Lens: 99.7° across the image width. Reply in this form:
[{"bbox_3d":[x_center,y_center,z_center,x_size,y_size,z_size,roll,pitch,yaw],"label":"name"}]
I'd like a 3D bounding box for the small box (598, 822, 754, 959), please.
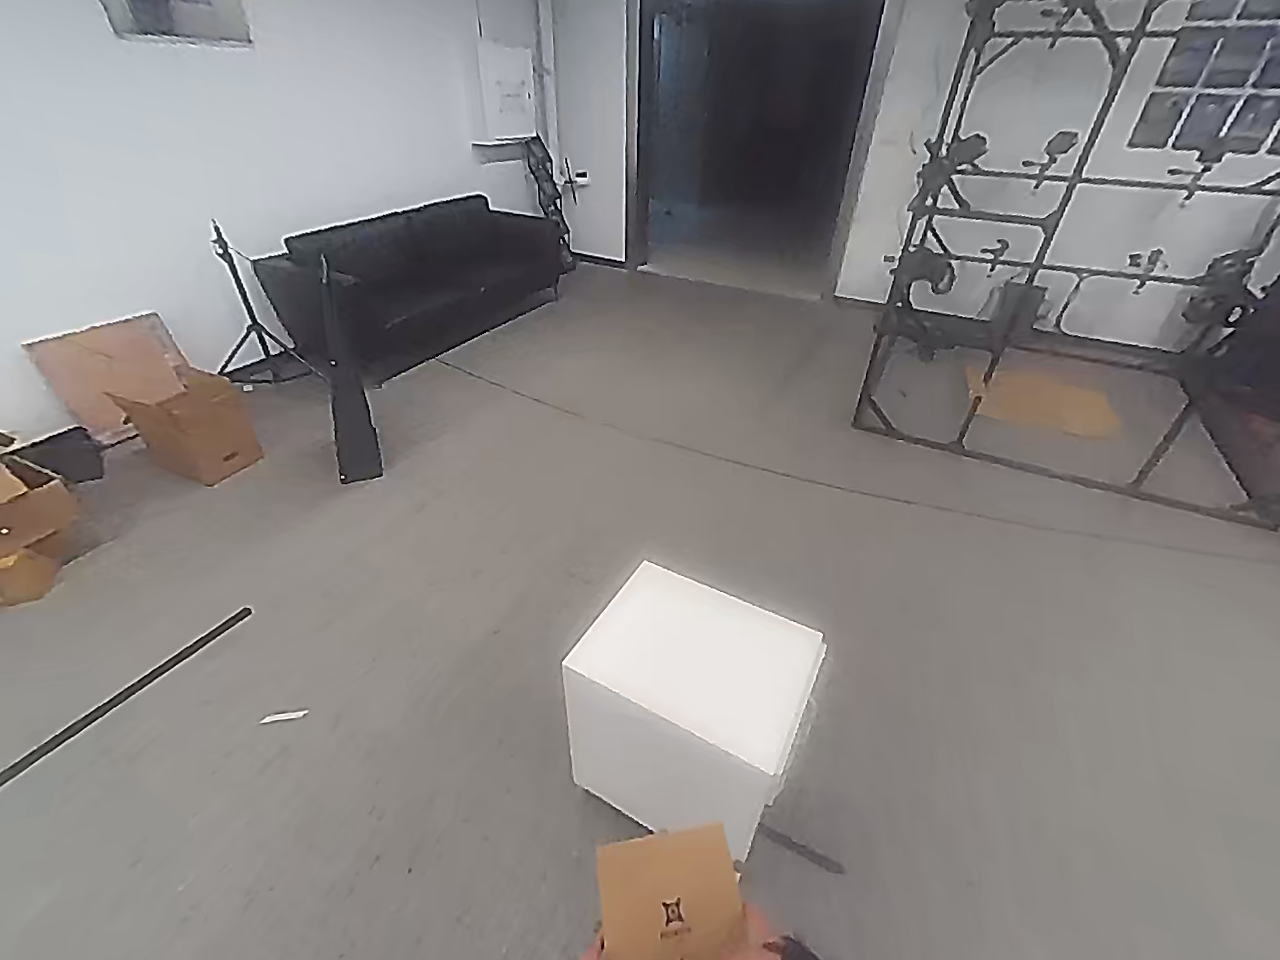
[{"bbox_3d":[0.043,0.560,0.684,0.168,0.176,0.179,-10,51,-3],"label":"small box"}]
